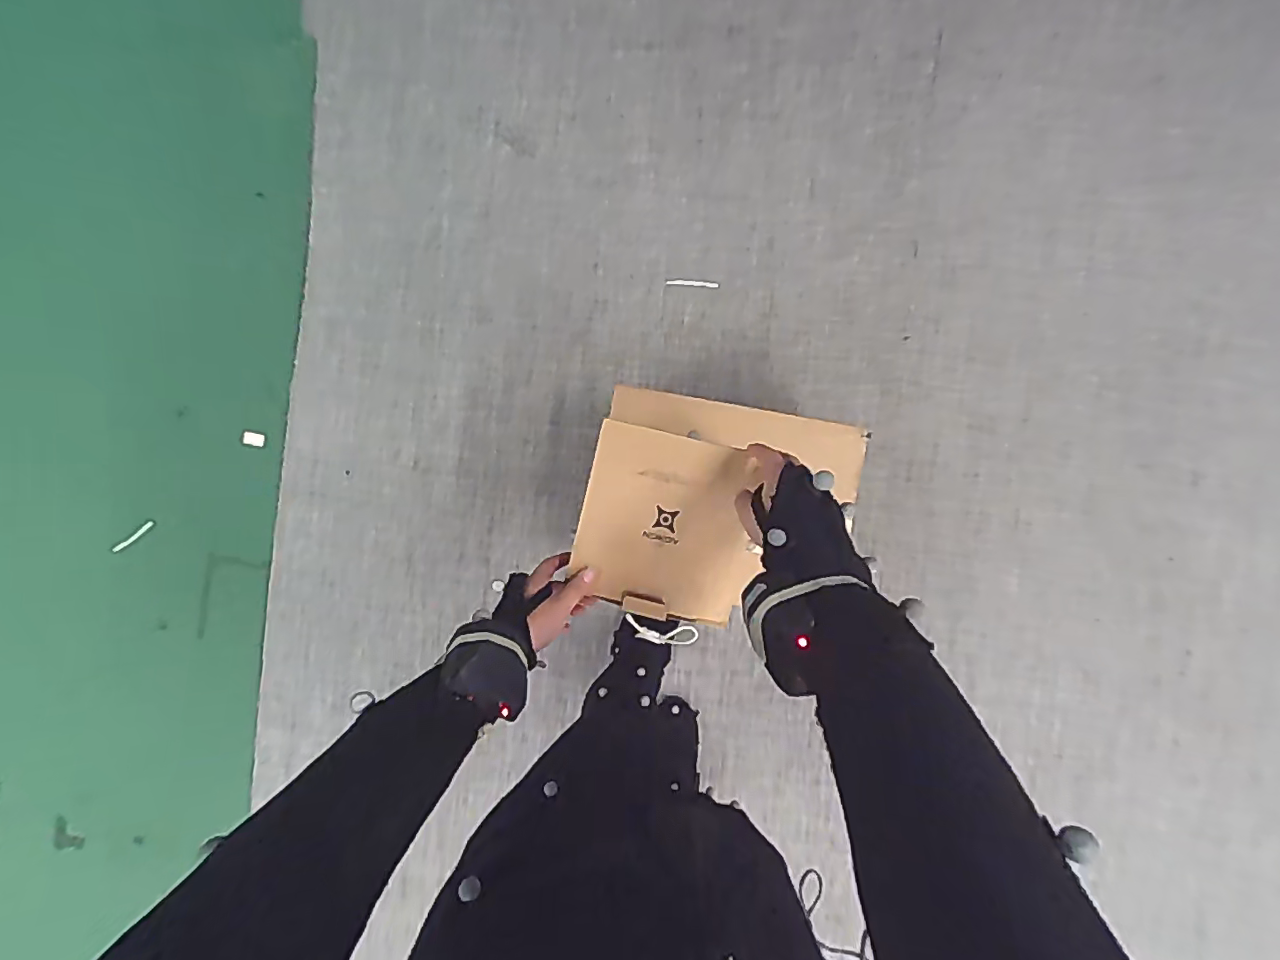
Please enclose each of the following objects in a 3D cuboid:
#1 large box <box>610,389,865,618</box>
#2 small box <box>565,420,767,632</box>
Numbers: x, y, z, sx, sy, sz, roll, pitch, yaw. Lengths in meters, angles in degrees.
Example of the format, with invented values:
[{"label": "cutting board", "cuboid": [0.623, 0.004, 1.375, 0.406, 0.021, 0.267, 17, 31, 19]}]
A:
[{"label": "large box", "cuboid": [0.139, 0.035, 1.000, 0.408, 0.320, 0.320, 10, 92, 3]}, {"label": "small box", "cuboid": [0.027, 0.044, 0.600, 0.168, 0.176, 0.179, 13, 90, 1]}]
